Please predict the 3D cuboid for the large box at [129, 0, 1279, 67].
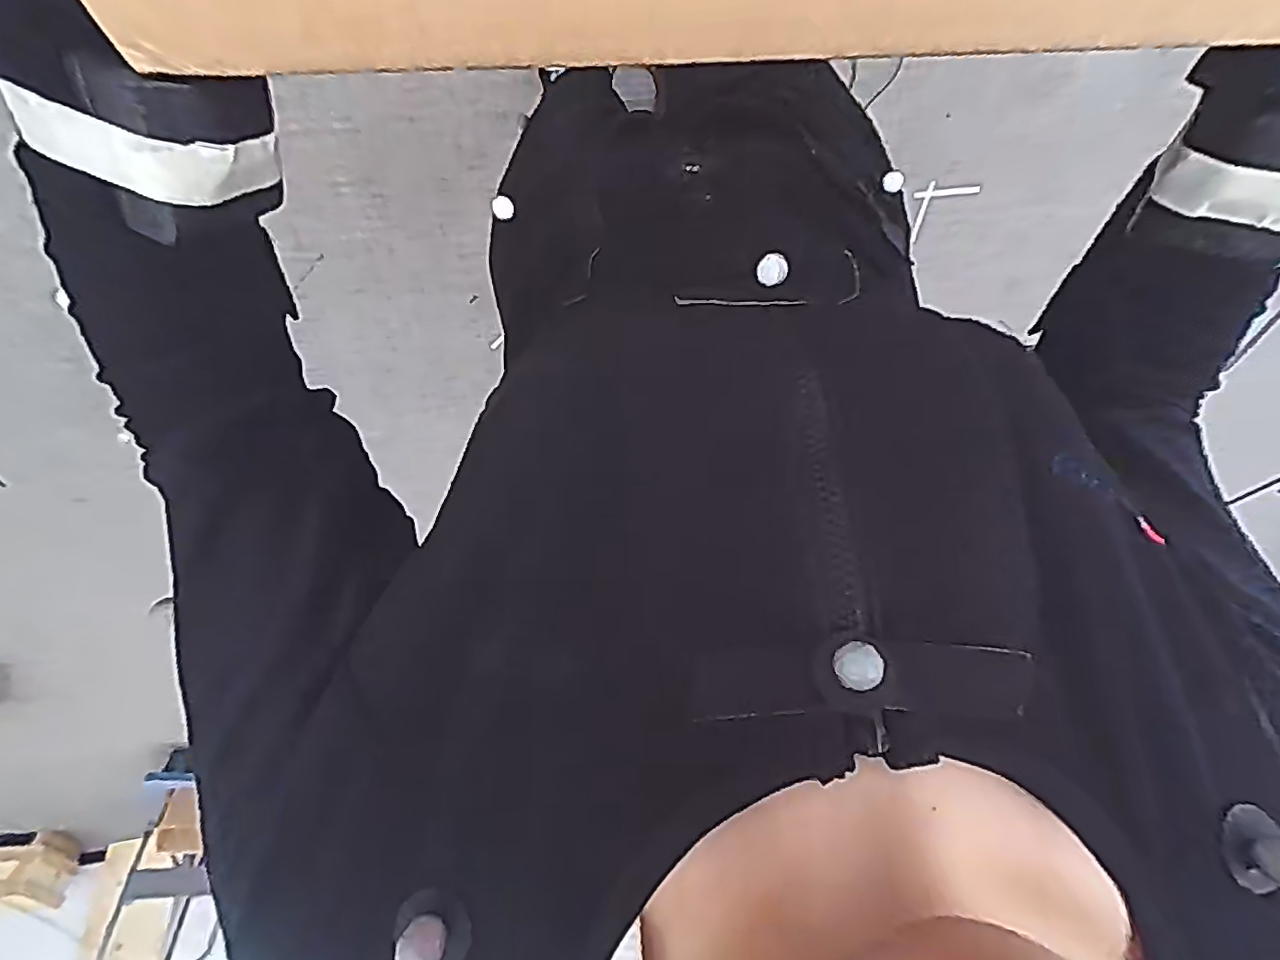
[{"bbox_3d":[0.033,-0.356,0.133,0.408,0.320,0.320,-4,147,-3],"label":"large box"}]
